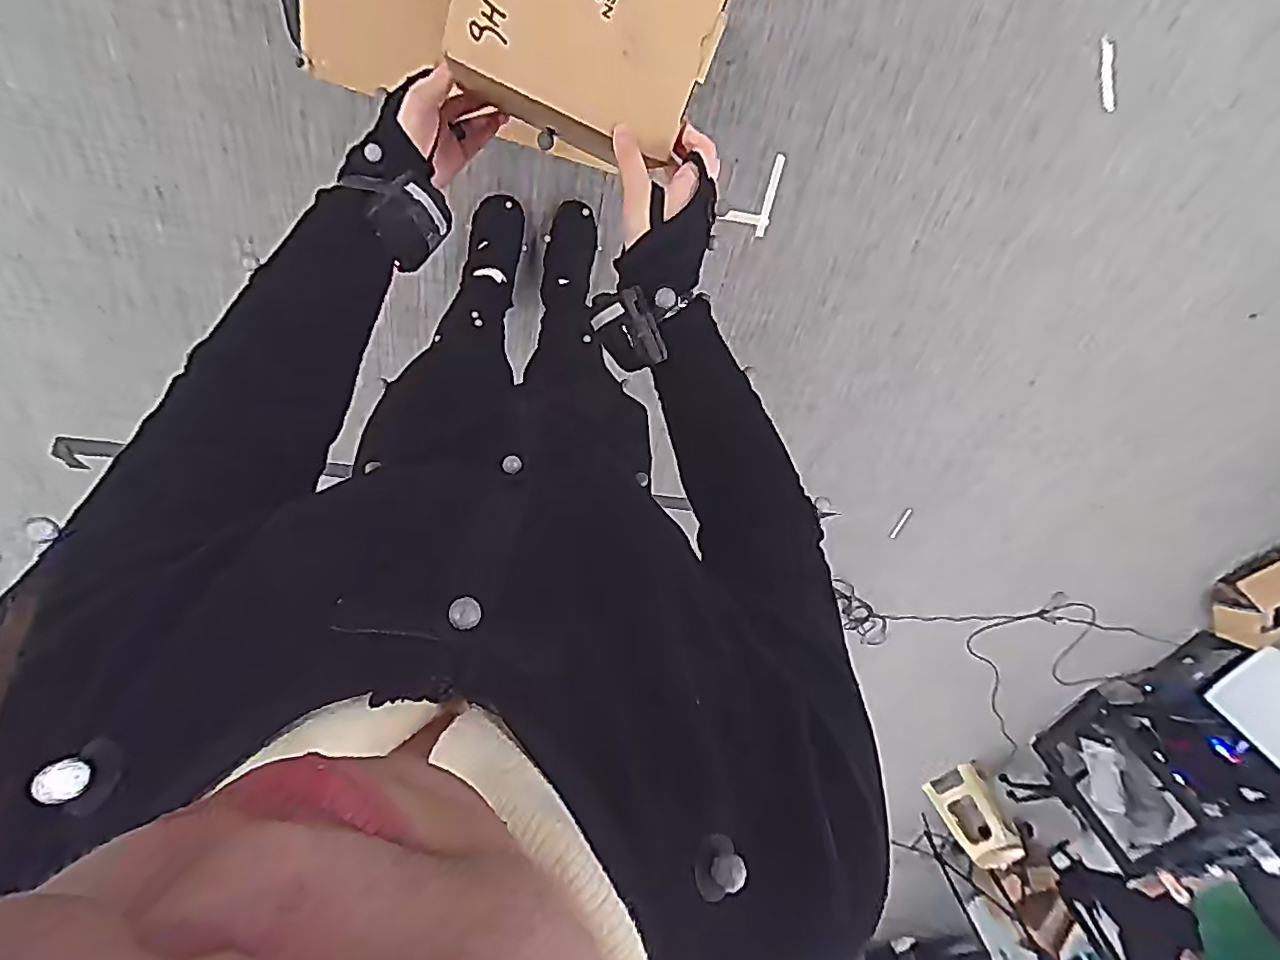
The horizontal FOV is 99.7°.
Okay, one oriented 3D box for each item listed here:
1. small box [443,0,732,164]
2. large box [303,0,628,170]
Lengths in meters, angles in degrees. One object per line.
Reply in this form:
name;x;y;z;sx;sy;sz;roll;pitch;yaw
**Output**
small box;-0.042;-0.373;0.426;0.179;0.176;0.168;14;113;-22
large box;-0.187;-0.664;0.734;0.408;0.320;0.320;9;124;-16
